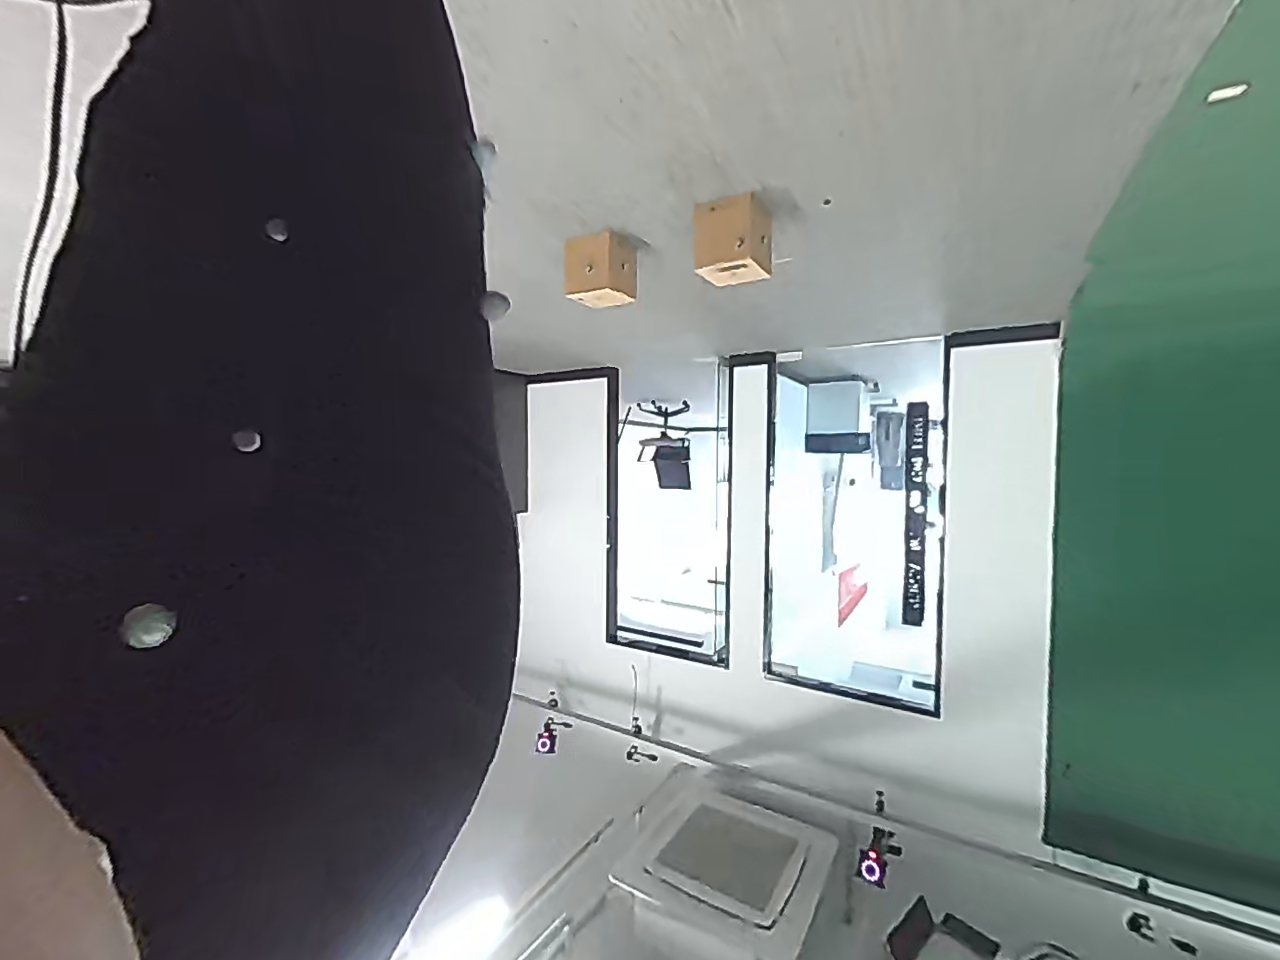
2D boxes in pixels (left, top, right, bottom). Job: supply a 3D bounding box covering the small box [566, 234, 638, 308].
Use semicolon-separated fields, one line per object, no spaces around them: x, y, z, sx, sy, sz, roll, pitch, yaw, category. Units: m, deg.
-0.123;-0.661;1.719;0.179;0.176;0.168;1;-178;31;small box
